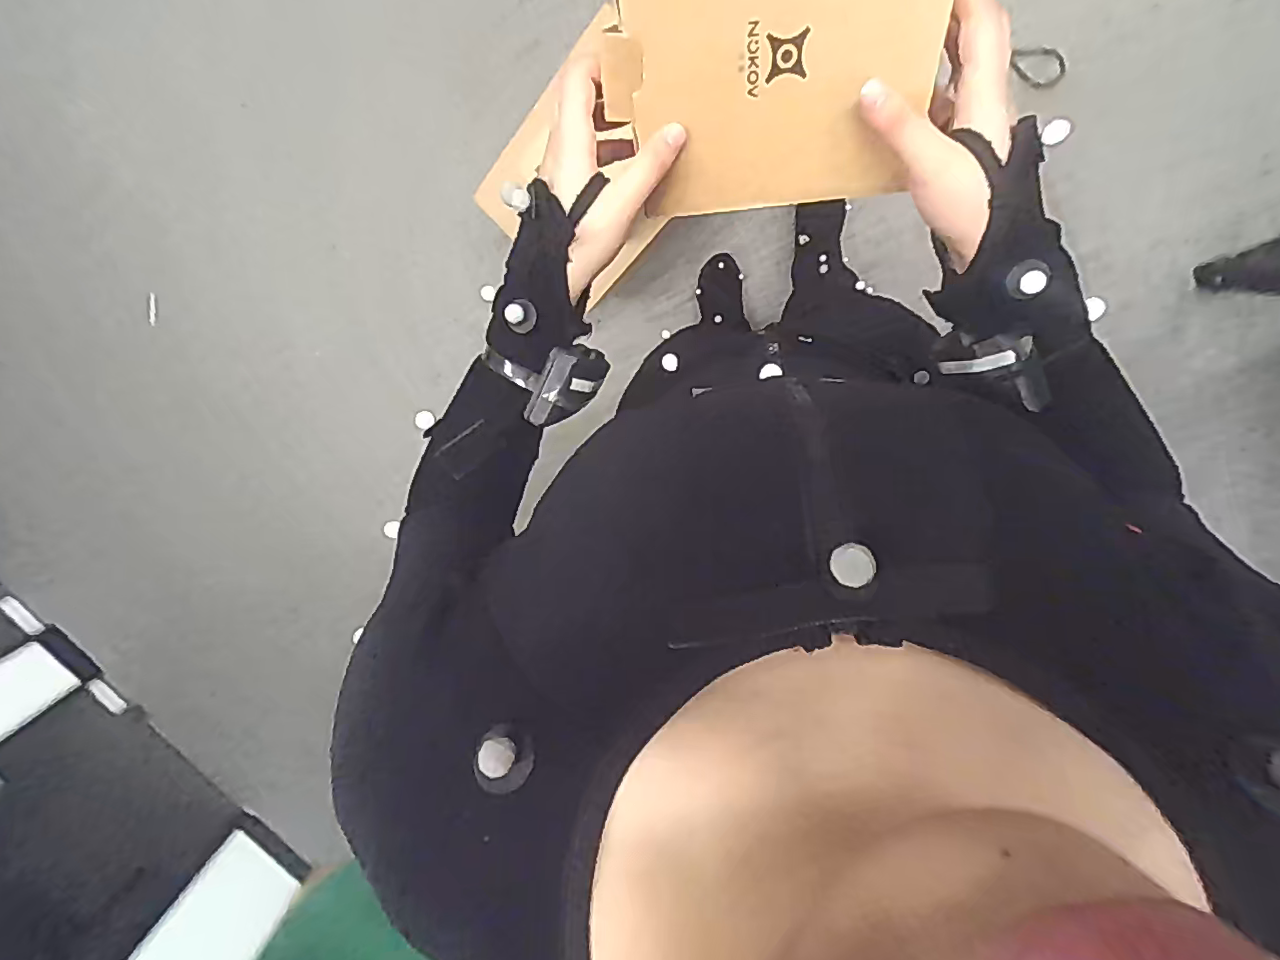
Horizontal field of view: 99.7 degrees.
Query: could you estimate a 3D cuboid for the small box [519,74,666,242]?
[{"bbox_3d":[-0.071,-0.537,0.932,0.168,0.176,0.179,44,113,-12],"label":"small box"}]
